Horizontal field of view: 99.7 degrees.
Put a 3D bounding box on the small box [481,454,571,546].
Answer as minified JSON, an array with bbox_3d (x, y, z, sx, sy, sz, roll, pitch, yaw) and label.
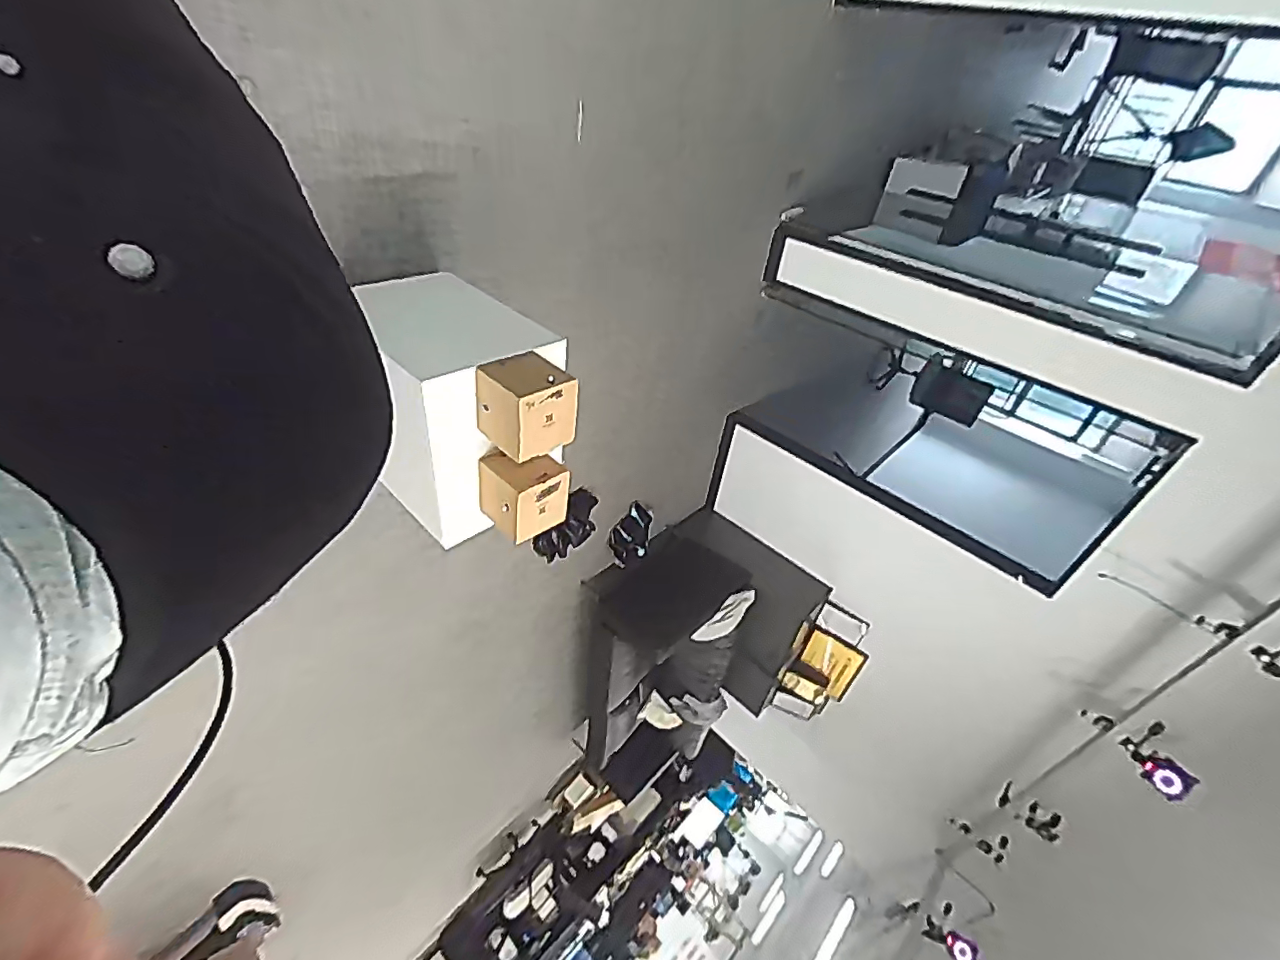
[{"bbox_3d":[-0.302,0.033,1.419,0.168,0.176,0.179,-27,141,-40],"label":"small box"}]

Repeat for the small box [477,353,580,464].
[{"bbox_3d":[-0.263,-0.171,1.262,0.168,0.176,0.179,-29,144,-39],"label":"small box"}]
